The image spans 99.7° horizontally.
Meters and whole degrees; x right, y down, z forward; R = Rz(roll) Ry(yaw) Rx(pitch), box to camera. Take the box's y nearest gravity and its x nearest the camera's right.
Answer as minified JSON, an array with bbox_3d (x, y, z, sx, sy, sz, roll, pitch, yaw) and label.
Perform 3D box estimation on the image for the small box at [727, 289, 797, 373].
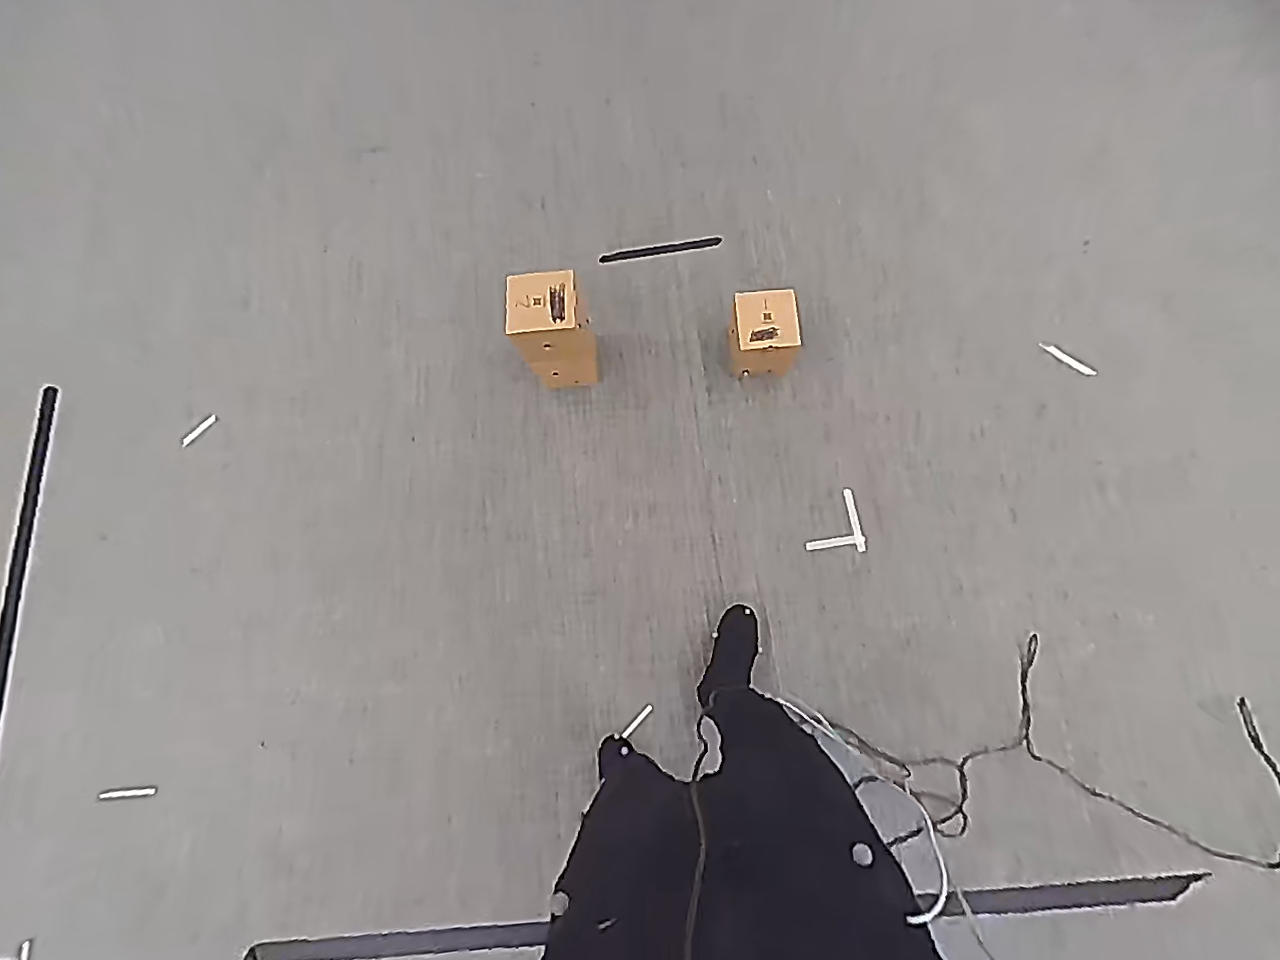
[{"bbox_3d":[0.341,-0.414,1.540,0.168,0.176,0.179,-4,75,2],"label":"small box"}]

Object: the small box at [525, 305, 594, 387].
[{"bbox_3d":[-0.231,-0.380,1.572,0.168,0.176,0.179,-6,75,3],"label":"small box"}]
